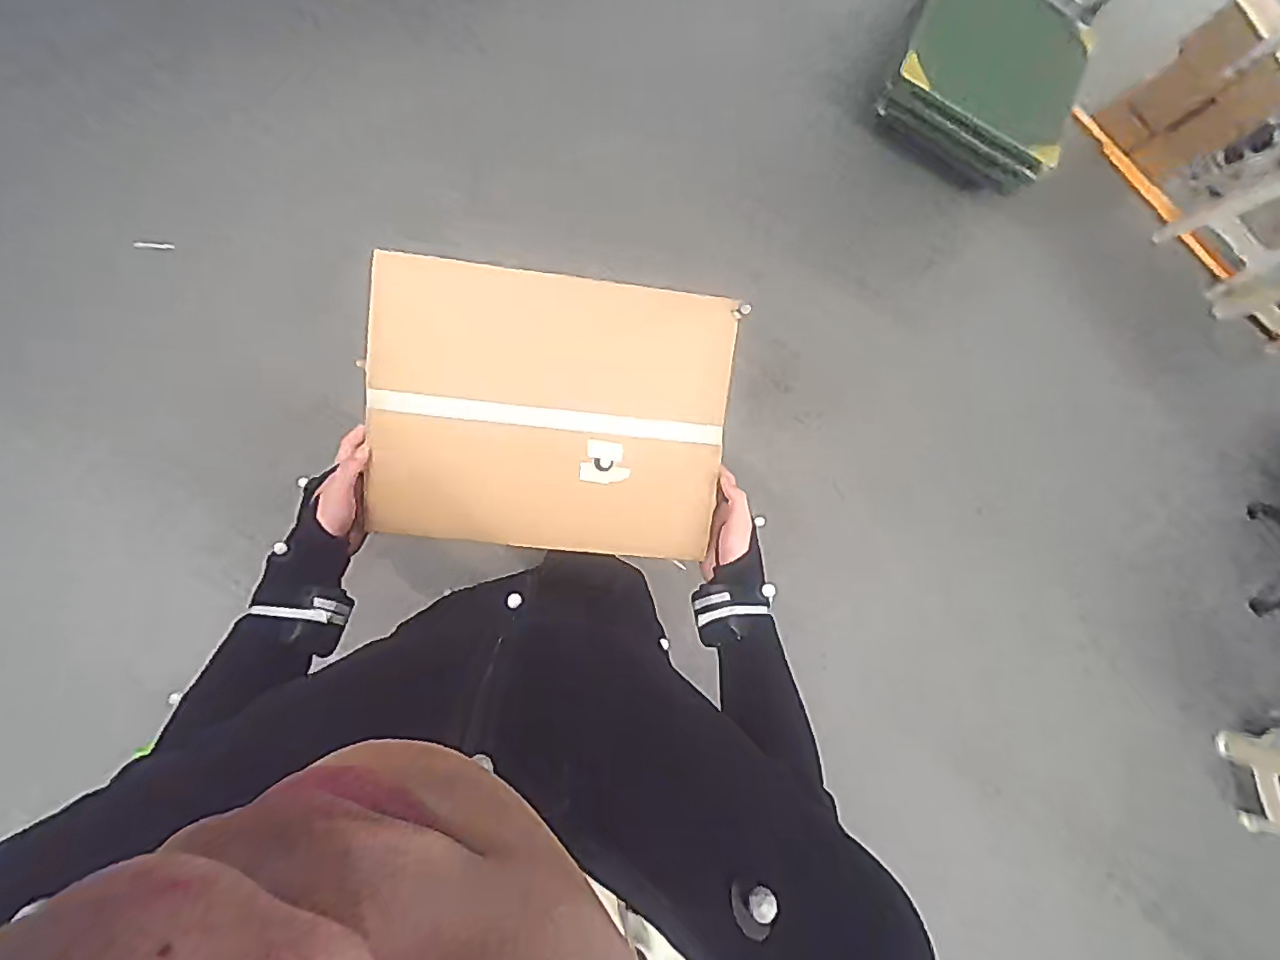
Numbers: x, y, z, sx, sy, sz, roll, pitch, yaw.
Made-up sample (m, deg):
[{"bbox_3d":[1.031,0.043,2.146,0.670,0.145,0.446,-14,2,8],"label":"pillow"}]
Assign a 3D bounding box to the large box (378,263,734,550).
[{"bbox_3d":[-0.115,-0.096,0.777,0.408,0.320,0.320,4,99,-7],"label":"large box"}]
